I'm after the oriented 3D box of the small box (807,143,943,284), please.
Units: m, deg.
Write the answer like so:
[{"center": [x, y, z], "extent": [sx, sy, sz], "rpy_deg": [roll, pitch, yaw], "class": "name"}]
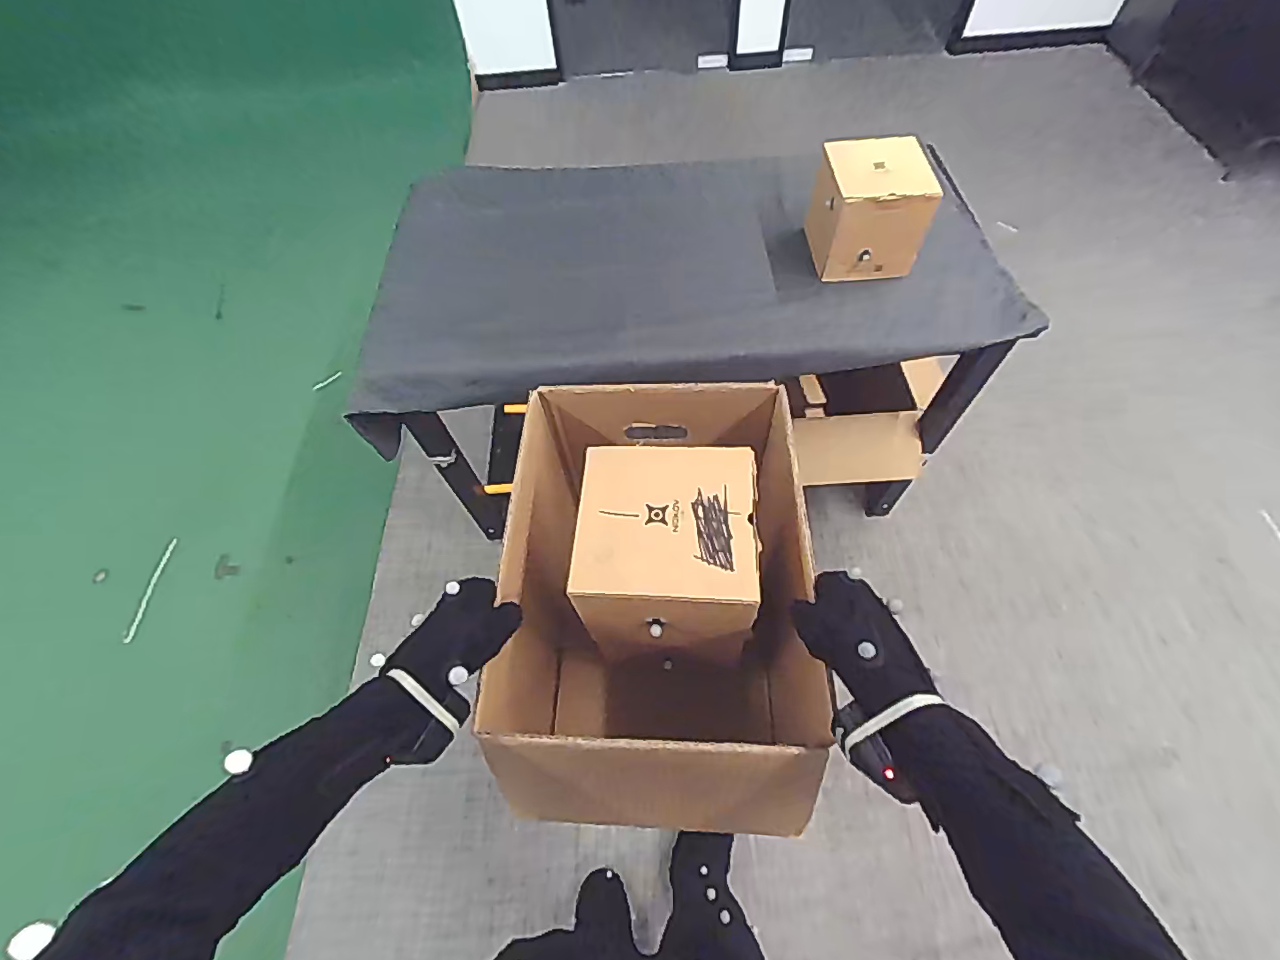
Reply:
[{"center": [0.418, -0.489, 0.999], "extent": [0.168, 0.176, 0.179], "rpy_deg": [-3, 59, 2], "class": "small box"}]
